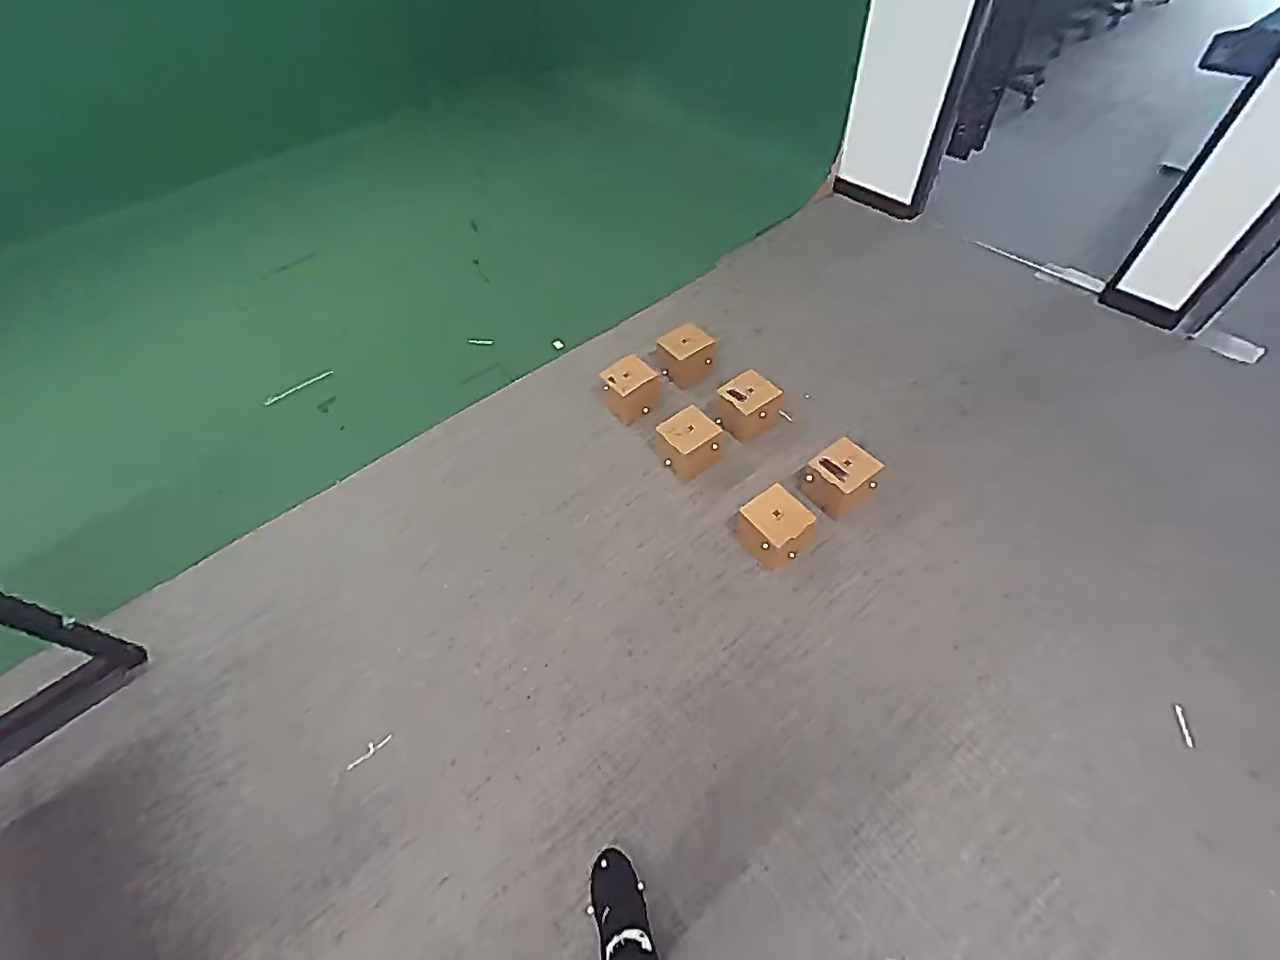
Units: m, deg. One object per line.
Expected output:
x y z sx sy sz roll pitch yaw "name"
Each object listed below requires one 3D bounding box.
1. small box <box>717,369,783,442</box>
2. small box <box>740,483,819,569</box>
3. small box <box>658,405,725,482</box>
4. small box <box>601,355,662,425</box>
0.405 -0.274 2.011 0.179 0.176 0.168 -33 58 -17 "small box"
0.431 0.148 1.709 0.168 0.176 0.179 -33 58 -16 "small box"
0.182 -0.128 1.934 0.179 0.176 0.168 -33 57 -16 "small box"
-0.030 -0.350 2.118 0.179 0.176 0.168 -34 57 -18 "small box"
